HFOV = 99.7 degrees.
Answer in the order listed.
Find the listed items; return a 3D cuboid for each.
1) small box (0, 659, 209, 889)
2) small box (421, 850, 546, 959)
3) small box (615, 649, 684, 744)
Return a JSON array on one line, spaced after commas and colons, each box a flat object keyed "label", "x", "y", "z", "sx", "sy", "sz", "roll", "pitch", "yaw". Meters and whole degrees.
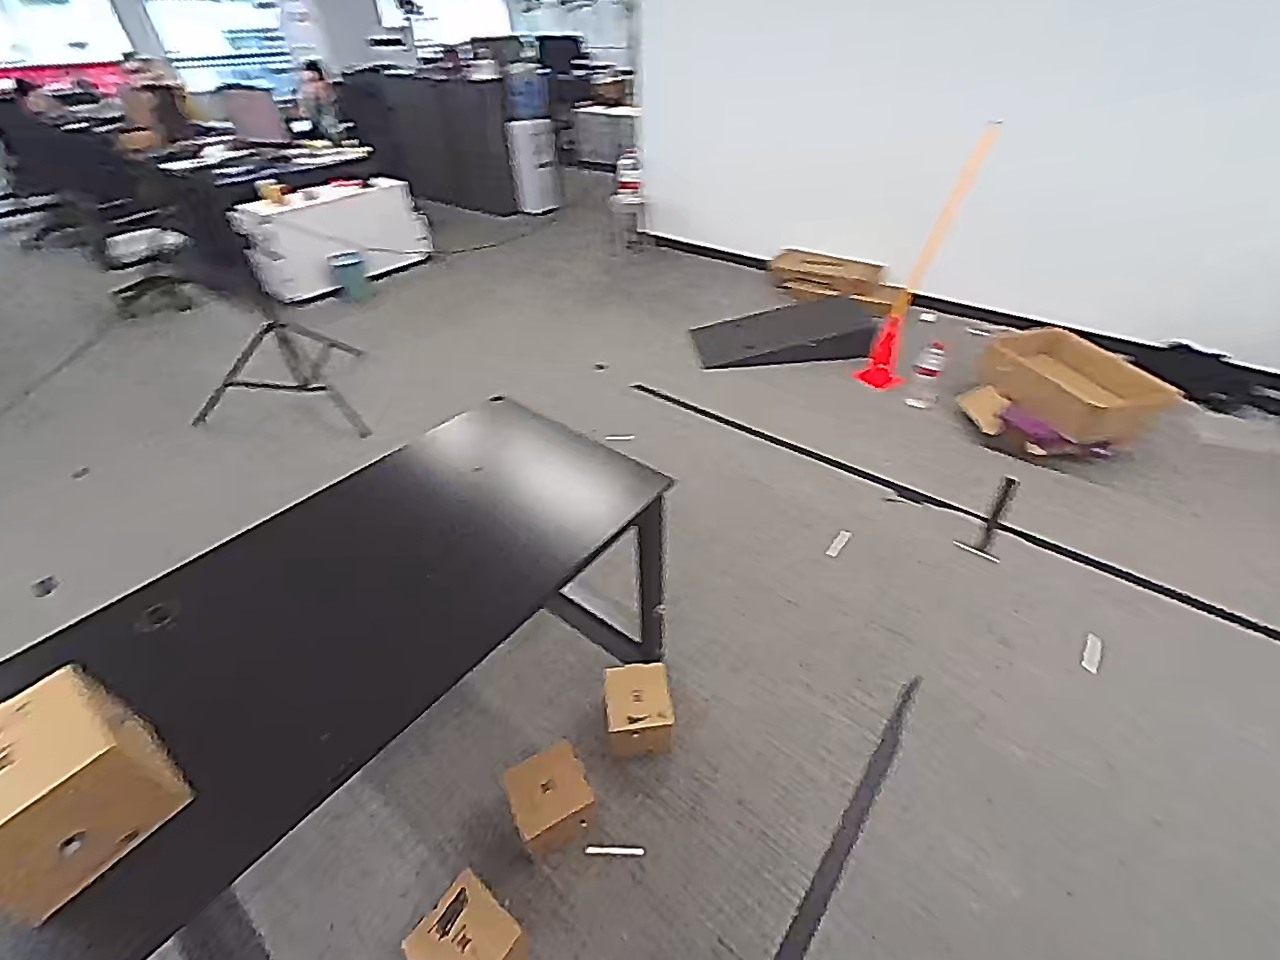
[{"label": "small box", "x": -0.701, "y": 0.371, "z": 0.681, "sx": 0.179, "sy": 0.176, "sz": 0.168, "roll": 25, "pitch": 48, "yaw": 28}, {"label": "small box", "x": -0.320, "y": 0.932, "z": 1.130, "sx": 0.179, "sy": 0.176, "sz": 0.168, "roll": 28, "pitch": 50, "yaw": 27}, {"label": "small box", "x": 0.023, "y": 0.595, "z": 1.486, "sx": 0.168, "sy": 0.176, "sz": 0.179, "roll": -7, "pitch": 42, "yaw": -4}]
